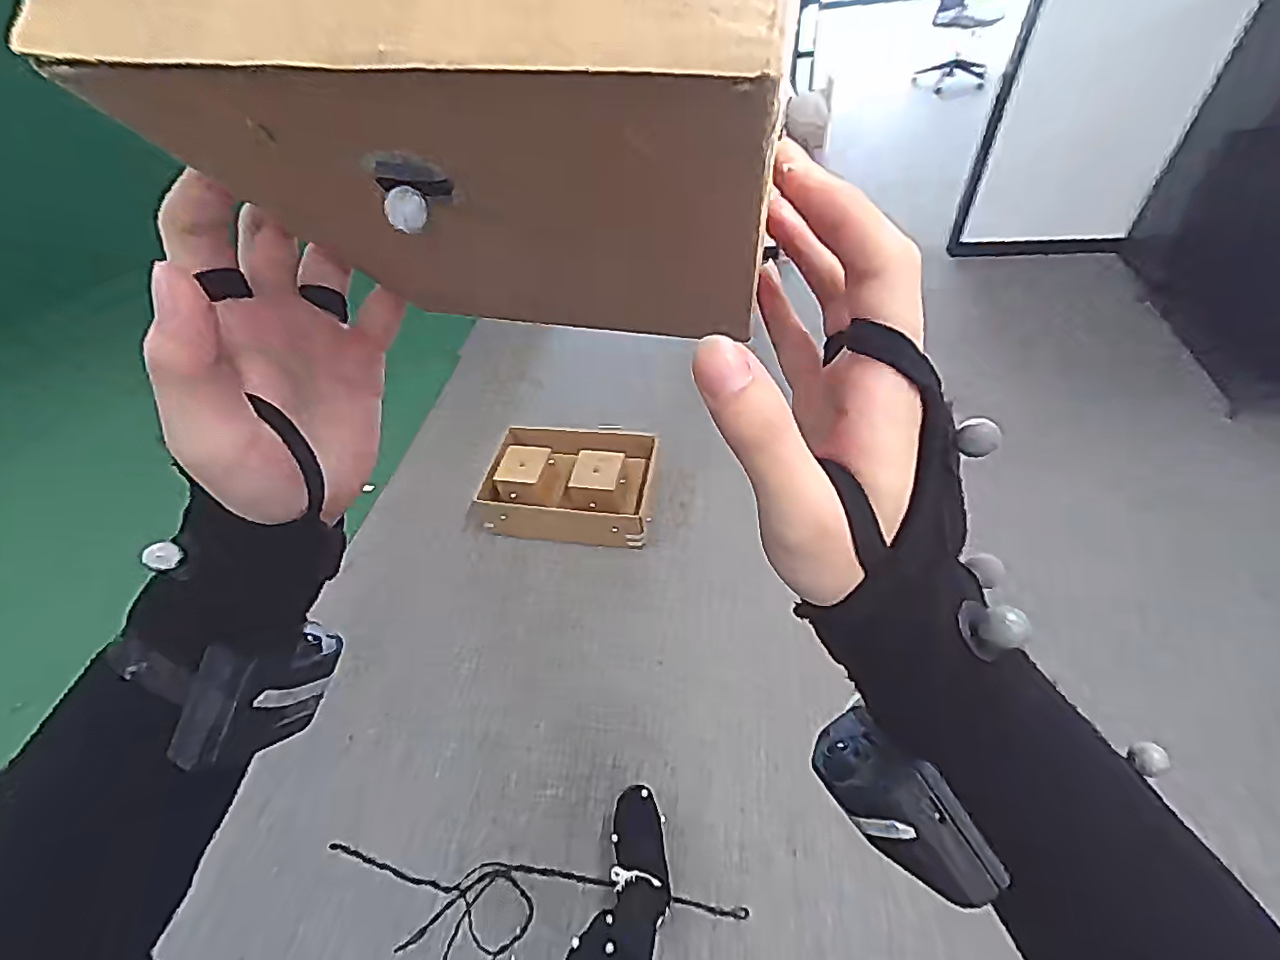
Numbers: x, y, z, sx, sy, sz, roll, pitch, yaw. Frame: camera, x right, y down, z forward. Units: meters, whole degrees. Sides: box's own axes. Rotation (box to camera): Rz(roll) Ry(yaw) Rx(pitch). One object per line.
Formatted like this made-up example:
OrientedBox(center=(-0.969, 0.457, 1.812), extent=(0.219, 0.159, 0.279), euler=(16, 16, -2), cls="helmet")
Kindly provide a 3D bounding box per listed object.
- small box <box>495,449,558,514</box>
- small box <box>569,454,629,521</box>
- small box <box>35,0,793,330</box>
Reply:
OrientedBox(center=(-0.416, 0.008, 2.019), extent=(0.168, 0.176, 0.179), euler=(5, 49, 11), cls="small box")
OrientedBox(center=(-0.140, 0.030, 1.964), extent=(0.168, 0.176, 0.179), euler=(6, 50, 13), cls="small box")
OrientedBox(center=(-0.037, -0.165, 0.199), extent=(0.179, 0.176, 0.168), euler=(8, 89, 9), cls="small box")
